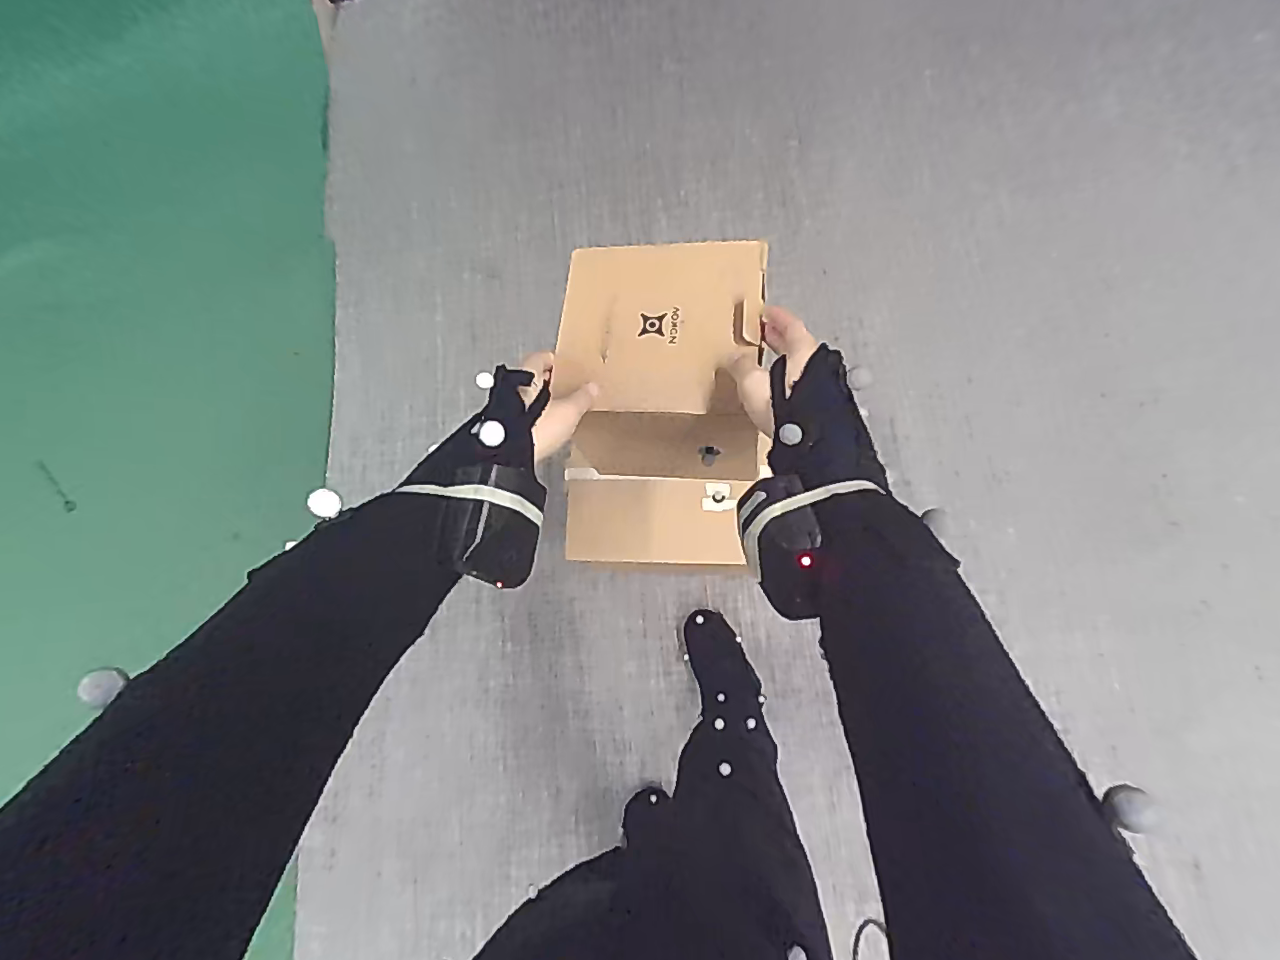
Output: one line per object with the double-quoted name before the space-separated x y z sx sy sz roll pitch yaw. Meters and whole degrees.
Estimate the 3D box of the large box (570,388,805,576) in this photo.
"large box" 0.097 0.026 1.081 0.408 0.320 0.320 0 77 9

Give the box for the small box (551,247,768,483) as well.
"small box" 0.033 -0.100 0.533 0.179 0.176 0.168 1 71 13
